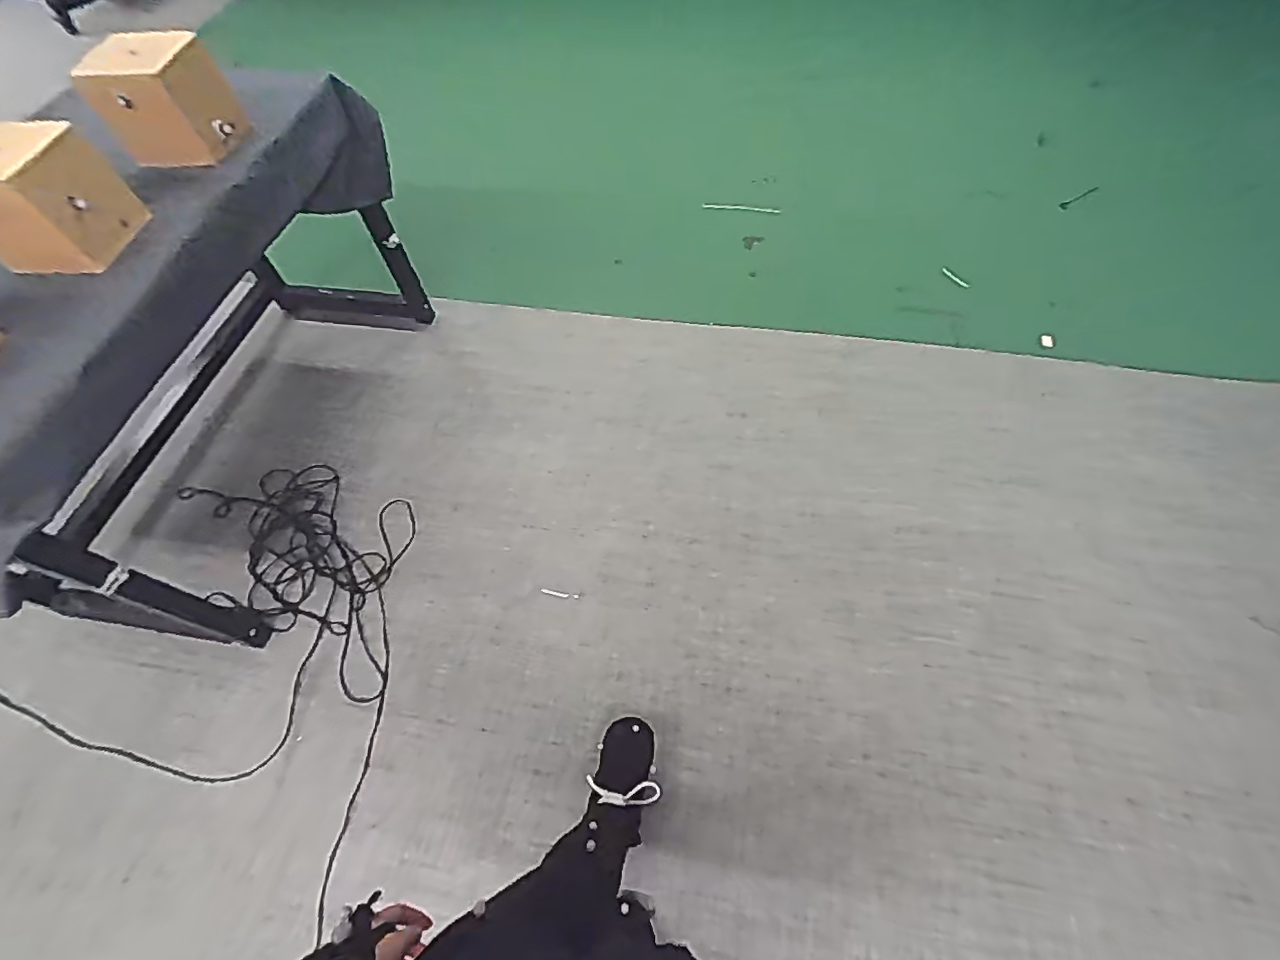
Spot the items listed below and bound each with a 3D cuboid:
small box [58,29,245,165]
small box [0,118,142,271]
[{"bbox_3d":[-0.936,-0.743,1.058,0.179,0.176,0.168,1,61,2],"label":"small box"},{"bbox_3d":[-1.005,-0.468,0.898,0.179,0.176,0.168,2,60,4],"label":"small box"}]
